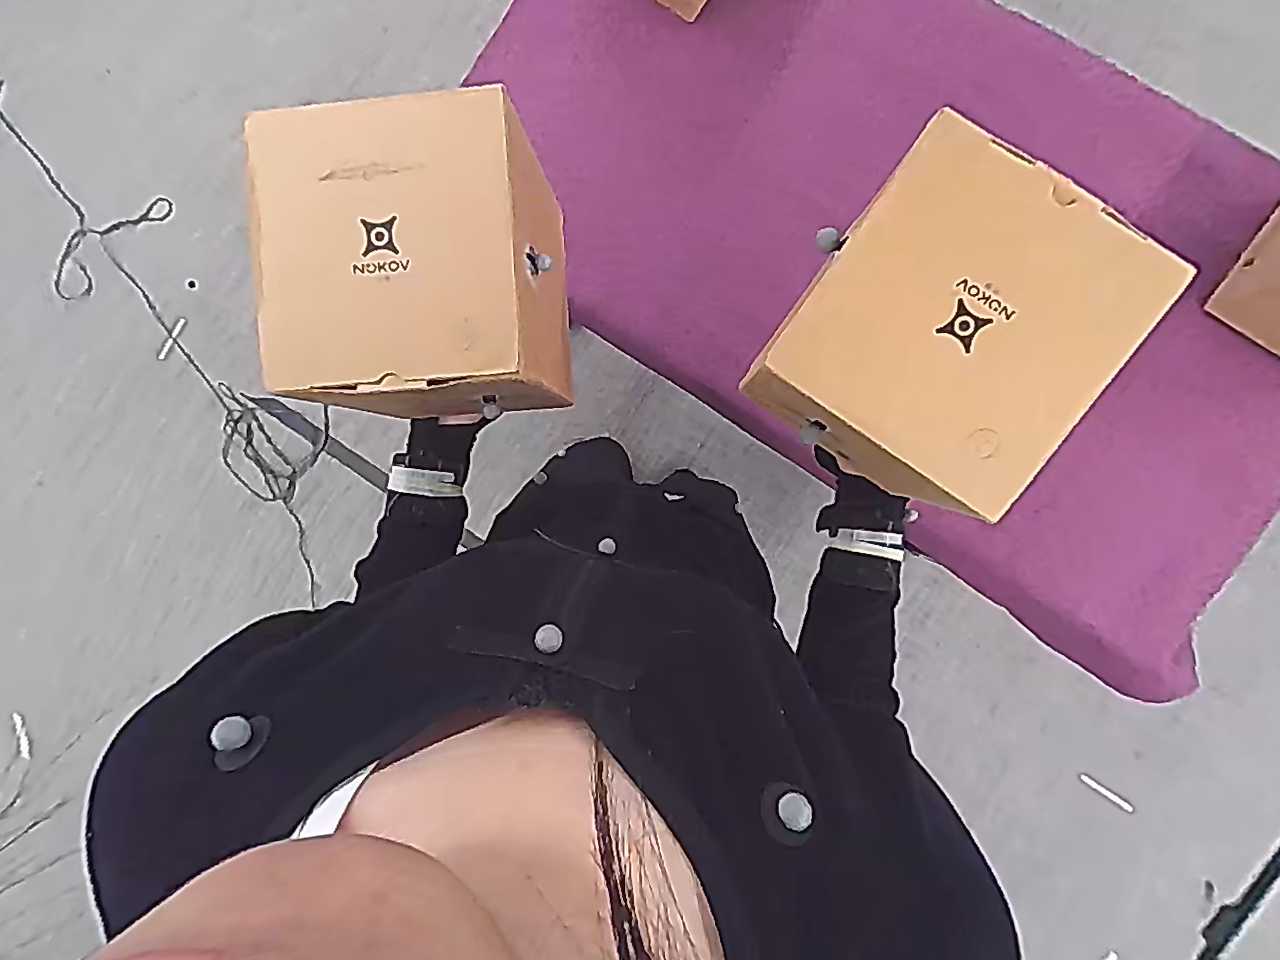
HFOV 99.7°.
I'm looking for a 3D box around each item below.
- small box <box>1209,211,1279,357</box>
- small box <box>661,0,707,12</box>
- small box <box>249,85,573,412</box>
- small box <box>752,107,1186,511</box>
[{"bbox_3d":[0.824,-0.237,0.602,0.179,0.176,0.168,34,95,2],"label":"small box"},{"bbox_3d":[0.041,-0.725,0.642,0.179,0.176,0.168,36,96,1],"label":"small box"},{"bbox_3d":[-0.150,-0.147,0.410,0.168,0.176,0.179,-4,90,3],"label":"small box"},{"bbox_3d":[0.196,-0.100,0.390,0.168,0.176,0.179,35,95,3],"label":"small box"}]
